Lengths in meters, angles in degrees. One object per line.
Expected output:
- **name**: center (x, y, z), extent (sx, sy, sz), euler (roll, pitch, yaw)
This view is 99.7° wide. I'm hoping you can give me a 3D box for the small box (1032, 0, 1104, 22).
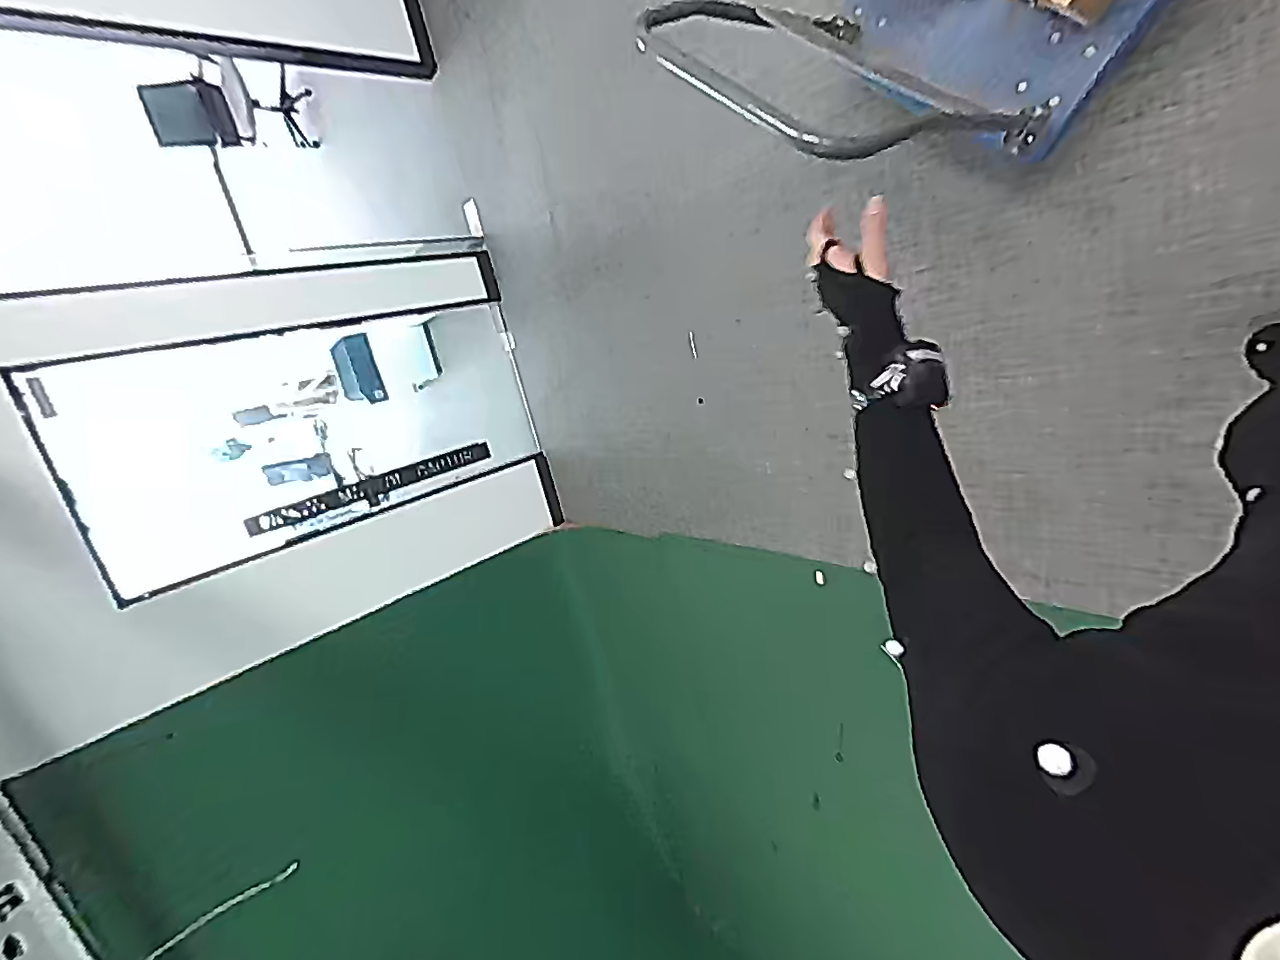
- **small box**: center (0.724, -0.903, 0.891), extent (0.168, 0.176, 0.179), euler (49, 141, 20)
